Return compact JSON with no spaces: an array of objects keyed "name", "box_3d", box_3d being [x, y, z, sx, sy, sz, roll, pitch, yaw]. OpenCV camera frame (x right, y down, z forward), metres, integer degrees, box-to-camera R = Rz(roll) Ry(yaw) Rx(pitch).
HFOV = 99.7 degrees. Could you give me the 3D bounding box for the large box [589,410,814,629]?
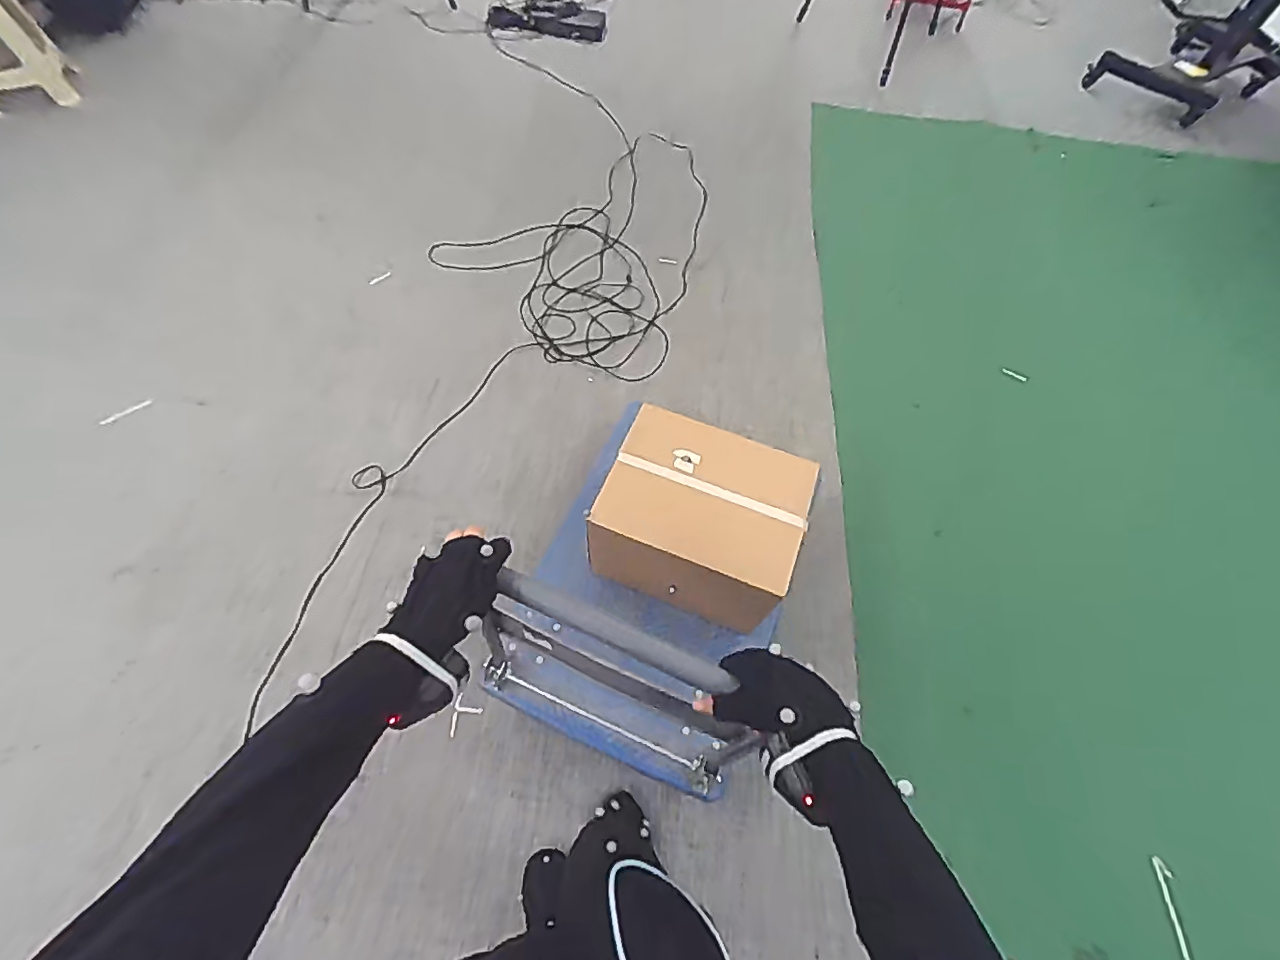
[{"name":"large box","box_3d":[0.131,0.100,1.240,0.408,0.320,0.320,20,62,8]}]
